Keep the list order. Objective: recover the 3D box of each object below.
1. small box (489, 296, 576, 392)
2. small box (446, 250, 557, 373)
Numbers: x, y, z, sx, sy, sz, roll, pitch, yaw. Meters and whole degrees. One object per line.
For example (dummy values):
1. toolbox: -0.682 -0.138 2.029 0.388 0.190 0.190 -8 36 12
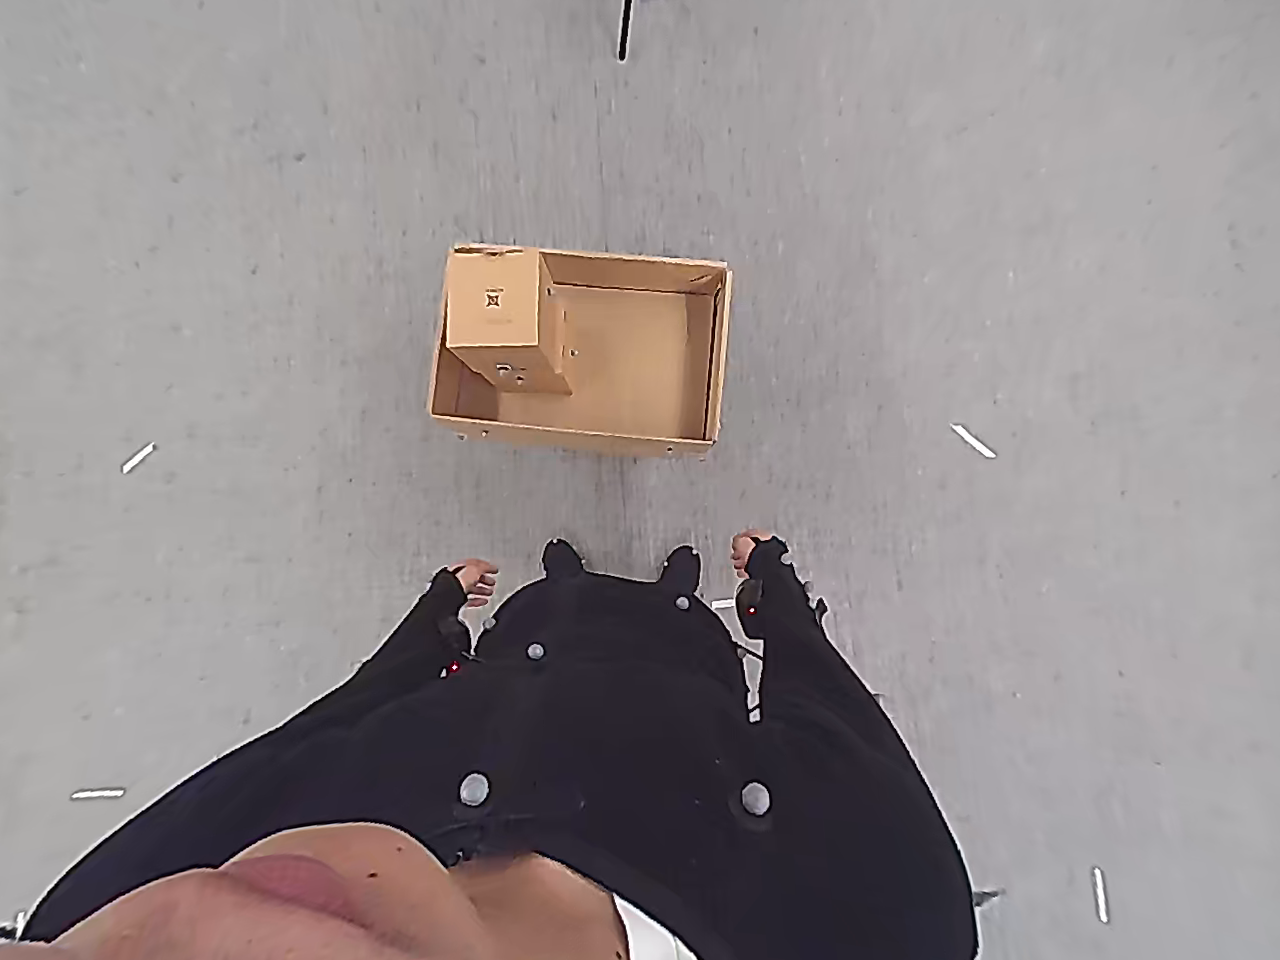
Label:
1. small box: -0.243 -0.297 1.197 0.179 0.176 0.168 2 85 1
2. small box: -0.256 -0.315 1.034 0.168 0.176 0.179 0 84 2
